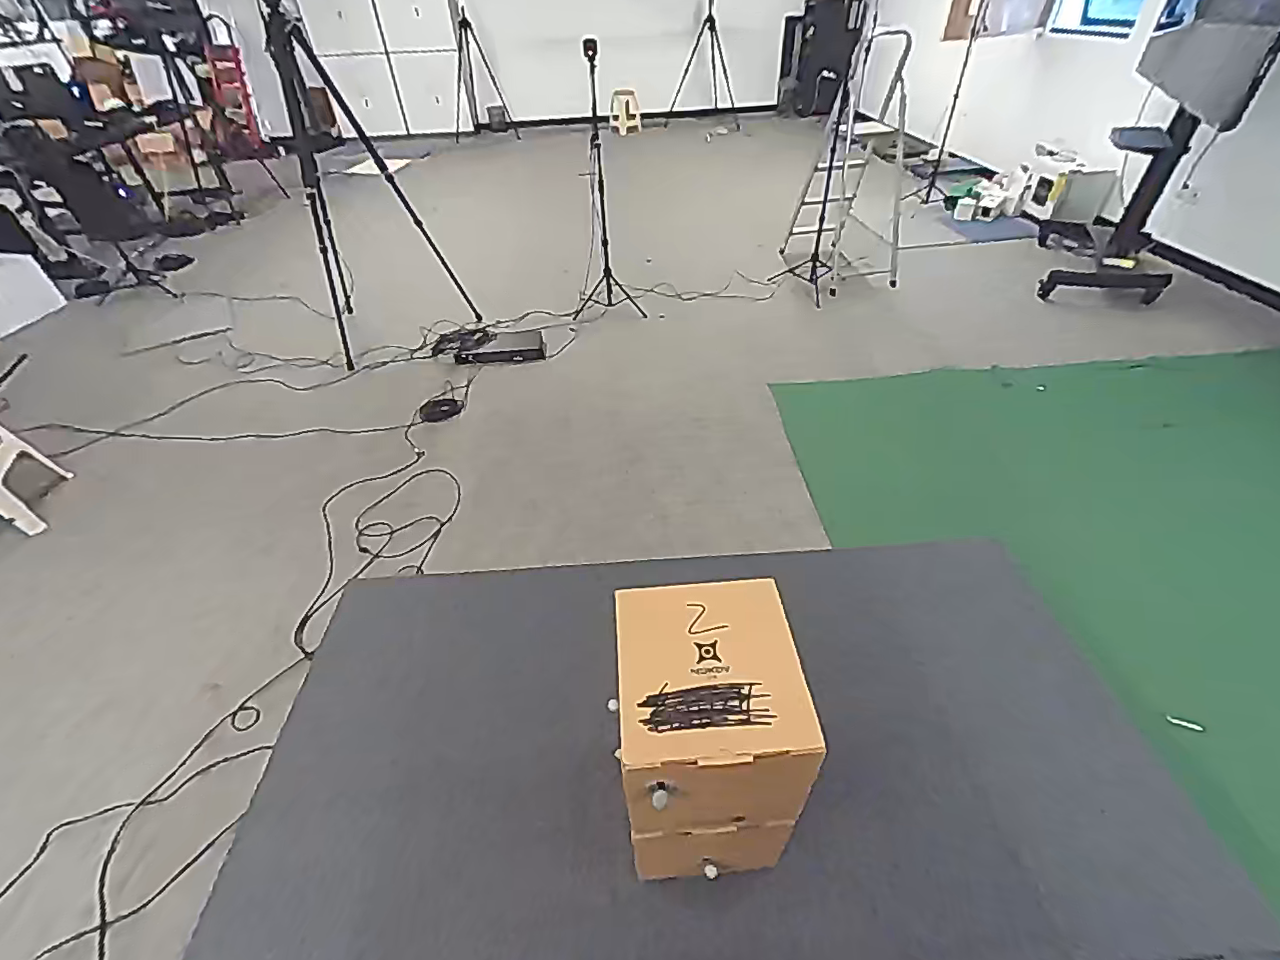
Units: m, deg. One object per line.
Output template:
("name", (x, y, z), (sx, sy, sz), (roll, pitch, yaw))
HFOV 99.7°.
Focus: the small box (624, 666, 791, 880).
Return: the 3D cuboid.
("small box", (0.068, 0.352, 0.655), (0.168, 0.176, 0.179), (-5, 42, -2))
